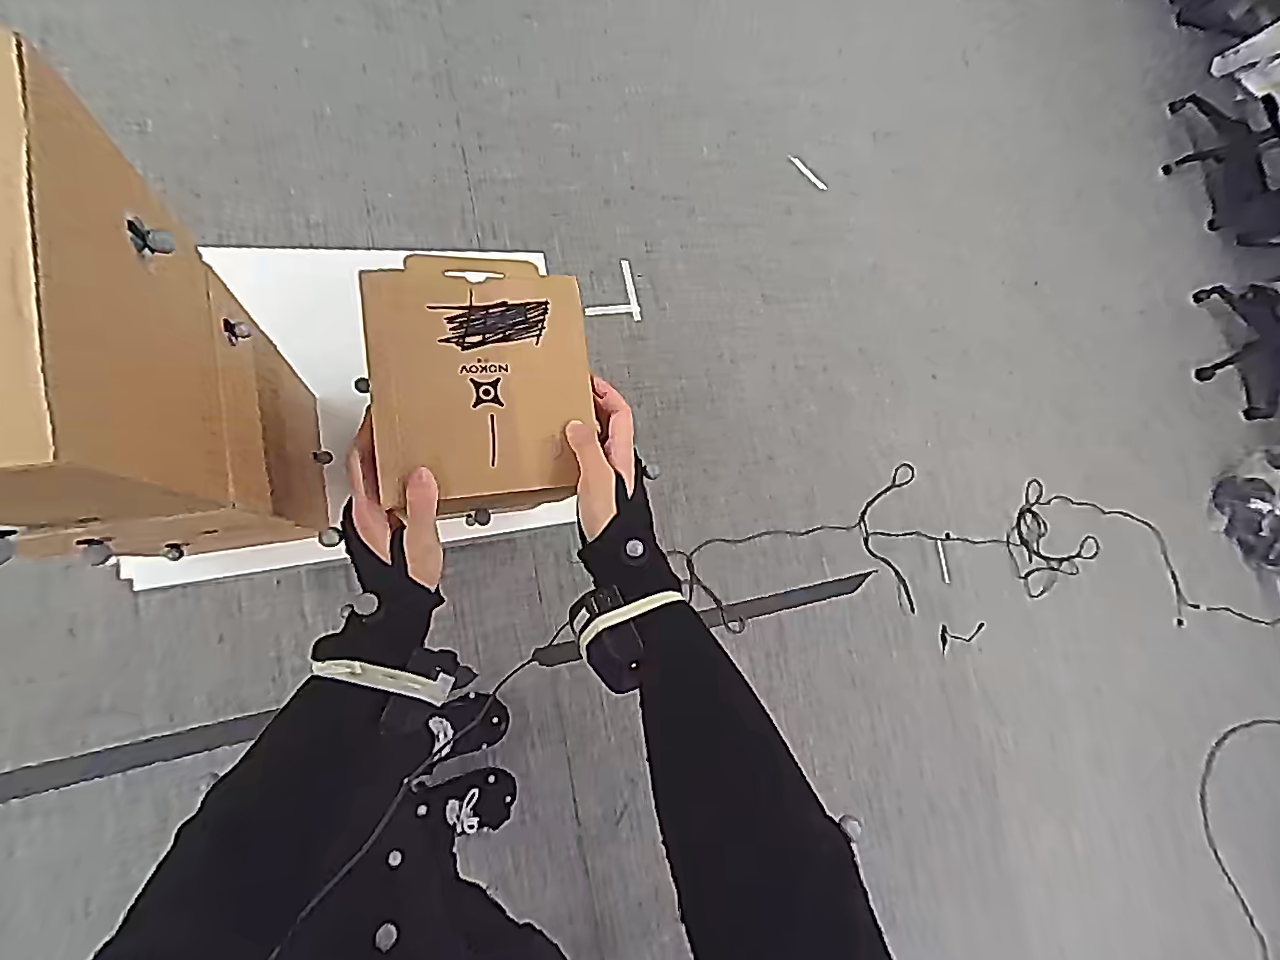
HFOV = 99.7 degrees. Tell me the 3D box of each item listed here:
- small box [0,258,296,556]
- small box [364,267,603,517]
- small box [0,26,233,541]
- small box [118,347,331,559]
[{"bbox_3d":[-0.376,-0.041,0.400,0.168,0.176,0.179,-9,84,-20],"label":"small box"},{"bbox_3d":[-0.142,-0.065,0.485,0.168,0.176,0.179,-6,86,-20],"label":"small box"},{"bbox_3d":[-0.322,-0.067,0.249,0.168,0.176,0.179,-9,86,-20],"label":"small box"},{"bbox_3d":[-0.430,-0.020,0.551,0.168,0.176,0.179,-8,83,-20],"label":"small box"}]
